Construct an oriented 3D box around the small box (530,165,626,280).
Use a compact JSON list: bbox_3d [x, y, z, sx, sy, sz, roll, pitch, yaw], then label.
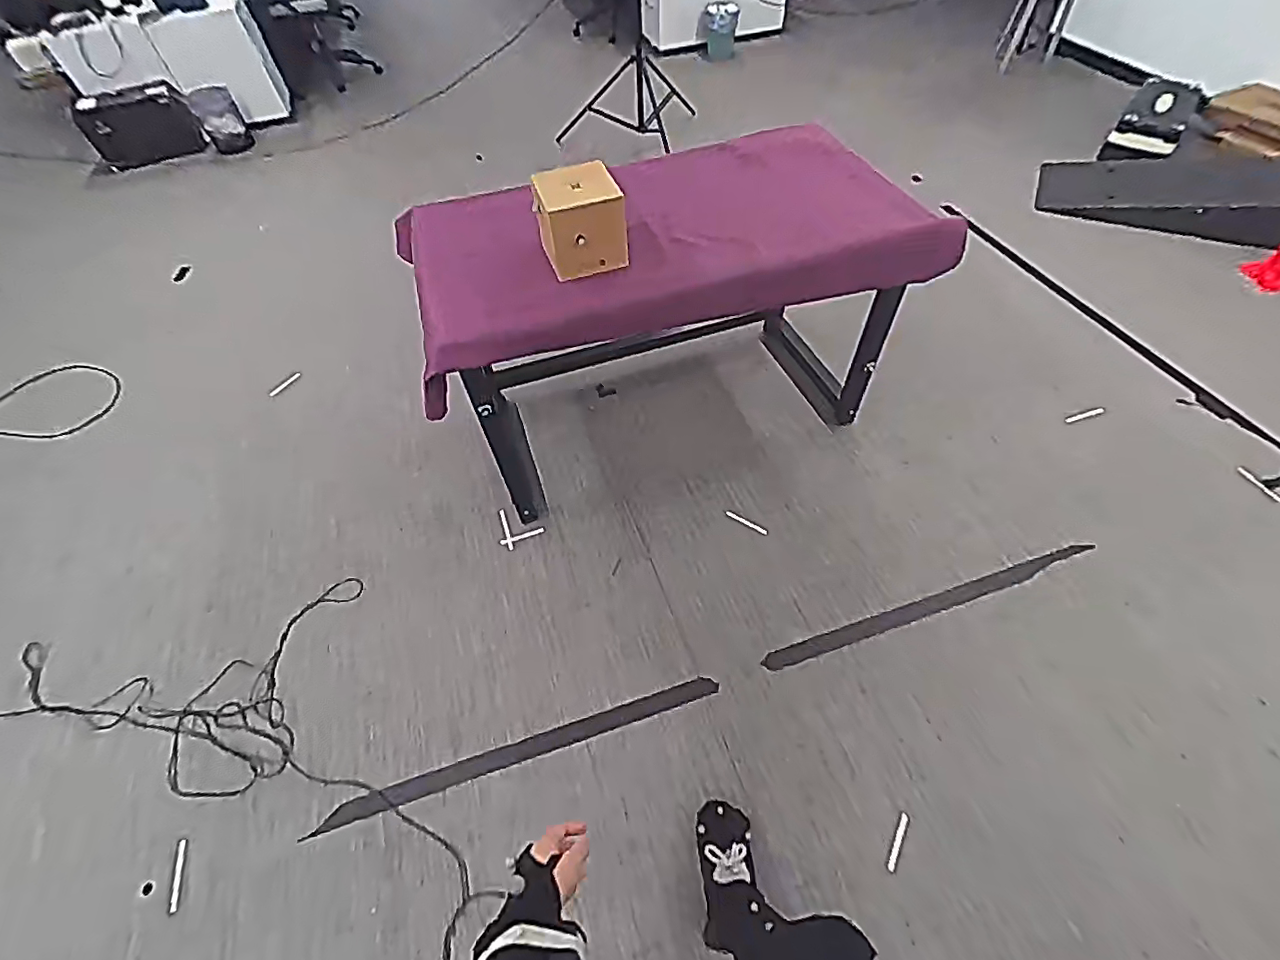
[{"bbox_3d":[-0.136,-0.574,1.222,0.168,0.176,0.179,-18,55,-9],"label":"small box"}]
